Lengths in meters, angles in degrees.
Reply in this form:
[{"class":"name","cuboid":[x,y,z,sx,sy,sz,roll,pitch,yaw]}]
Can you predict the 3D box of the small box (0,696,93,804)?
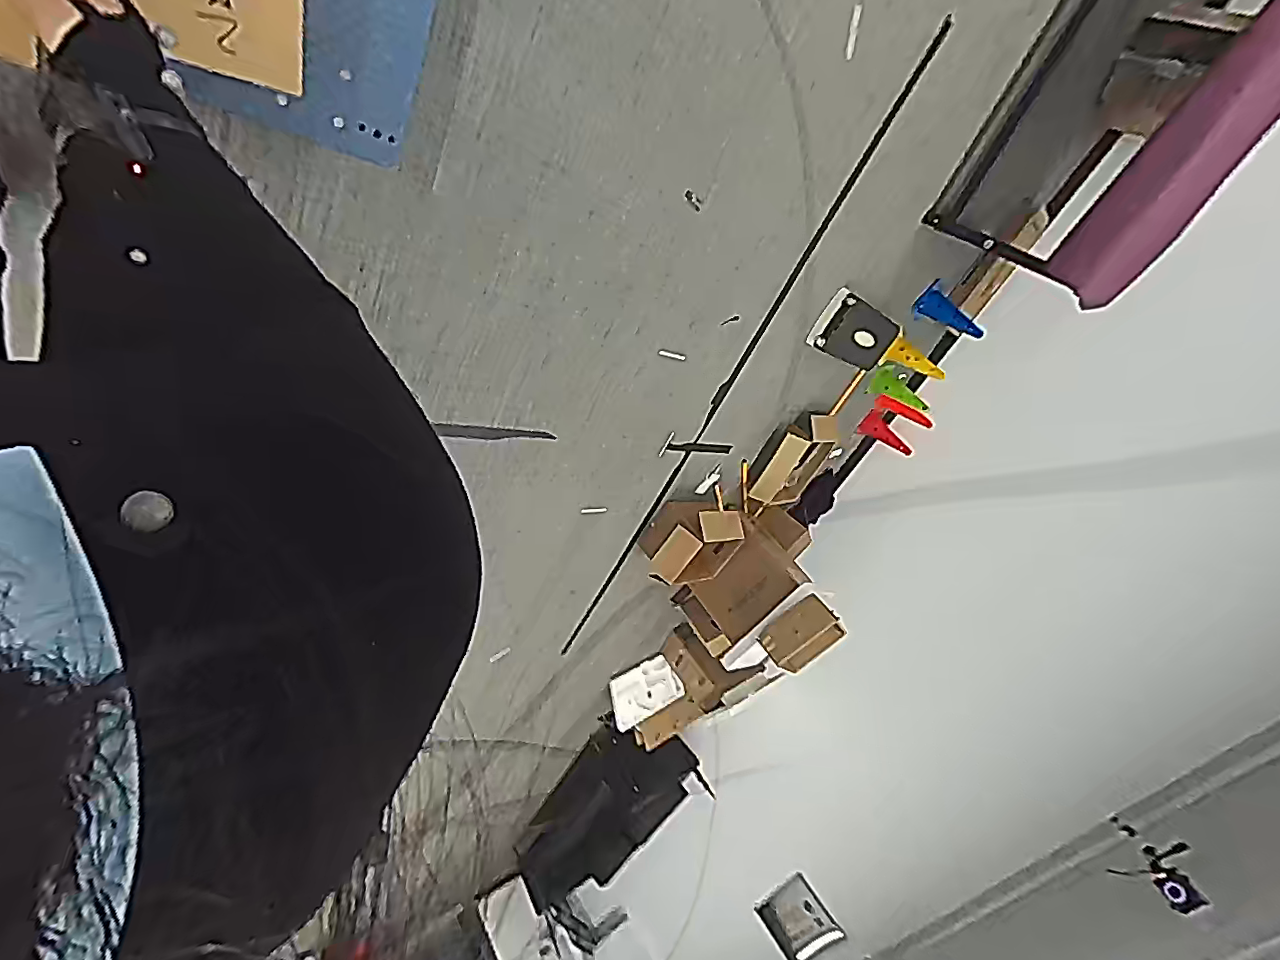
[{"class":"small box","cuboid":[-1.616,0.722,1.461,0.168,0.176,0.179,-14,139,-40]}]
